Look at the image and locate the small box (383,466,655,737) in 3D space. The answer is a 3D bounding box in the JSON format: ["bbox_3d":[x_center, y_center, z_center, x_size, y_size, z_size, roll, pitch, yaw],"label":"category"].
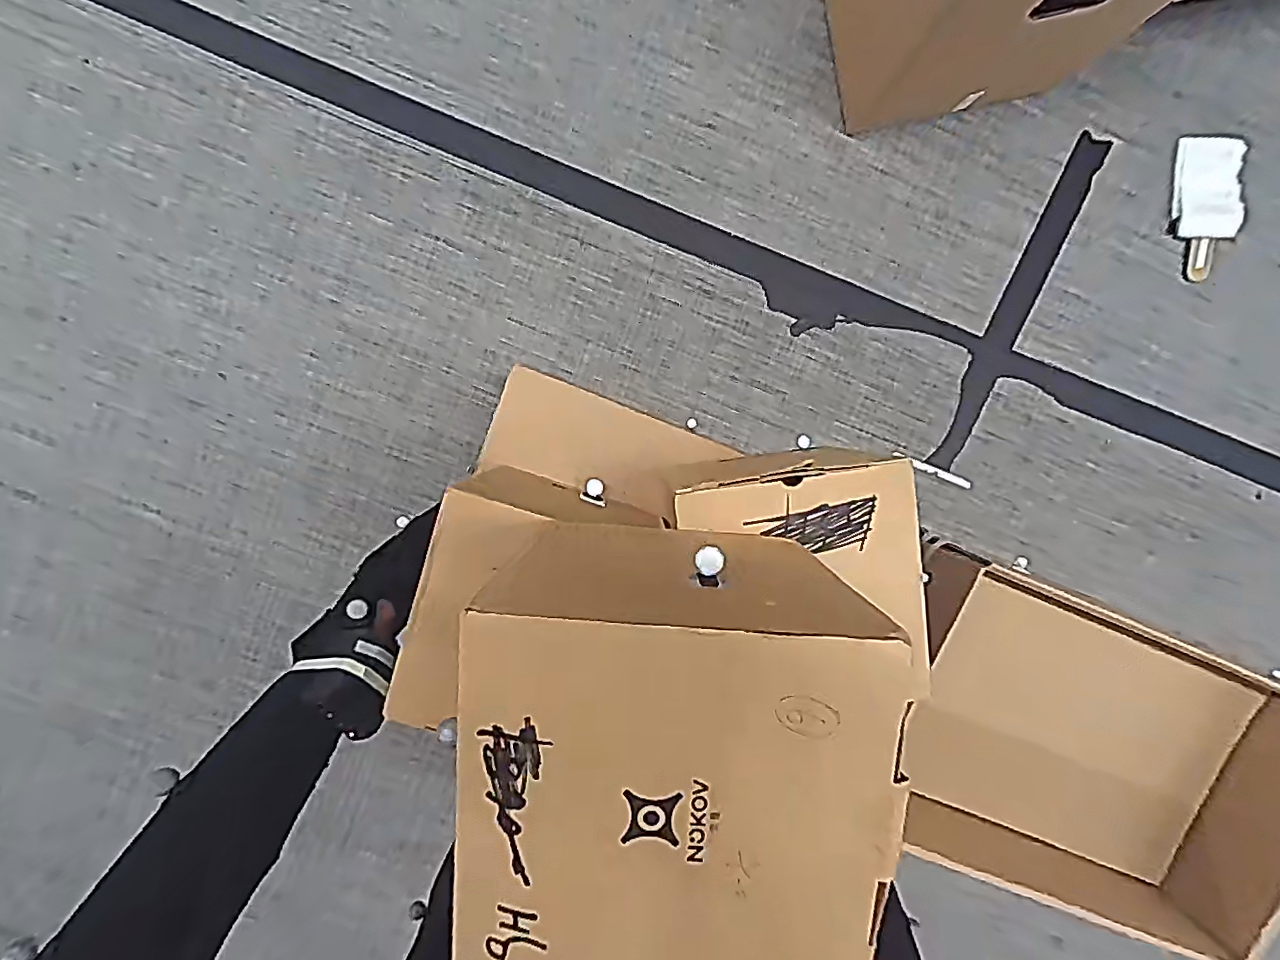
[{"bbox_3d":[-0.082,0.096,0.453,0.168,0.176,0.179,16,95,-4],"label":"small box"}]

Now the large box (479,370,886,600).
[{"bbox_3d":[0.008,0.078,0.695,0.408,0.320,0.320,20,97,-4],"label":"large box"}]

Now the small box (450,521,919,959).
[{"bbox_3d":[0.013,0.120,0.291,0.179,0.176,0.168,3,97,-1],"label":"small box"}]
